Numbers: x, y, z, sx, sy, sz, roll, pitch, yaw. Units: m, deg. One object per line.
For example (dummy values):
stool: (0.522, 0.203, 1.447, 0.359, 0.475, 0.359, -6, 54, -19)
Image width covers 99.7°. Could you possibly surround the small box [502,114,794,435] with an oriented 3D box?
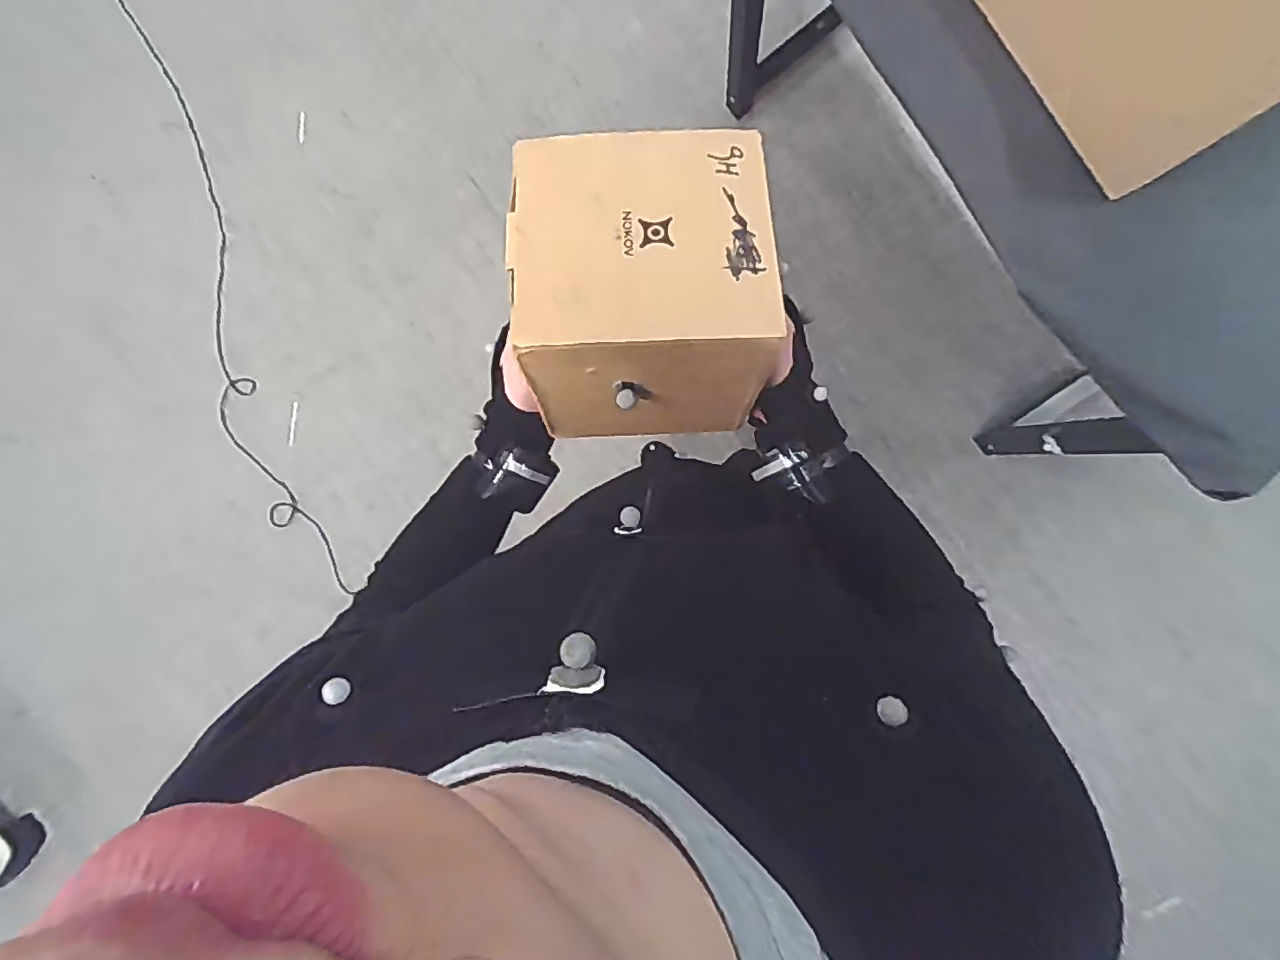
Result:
small box: (0.003, -0.140, 0.416, 0.179, 0.176, 0.168, -3, 74, -1)
